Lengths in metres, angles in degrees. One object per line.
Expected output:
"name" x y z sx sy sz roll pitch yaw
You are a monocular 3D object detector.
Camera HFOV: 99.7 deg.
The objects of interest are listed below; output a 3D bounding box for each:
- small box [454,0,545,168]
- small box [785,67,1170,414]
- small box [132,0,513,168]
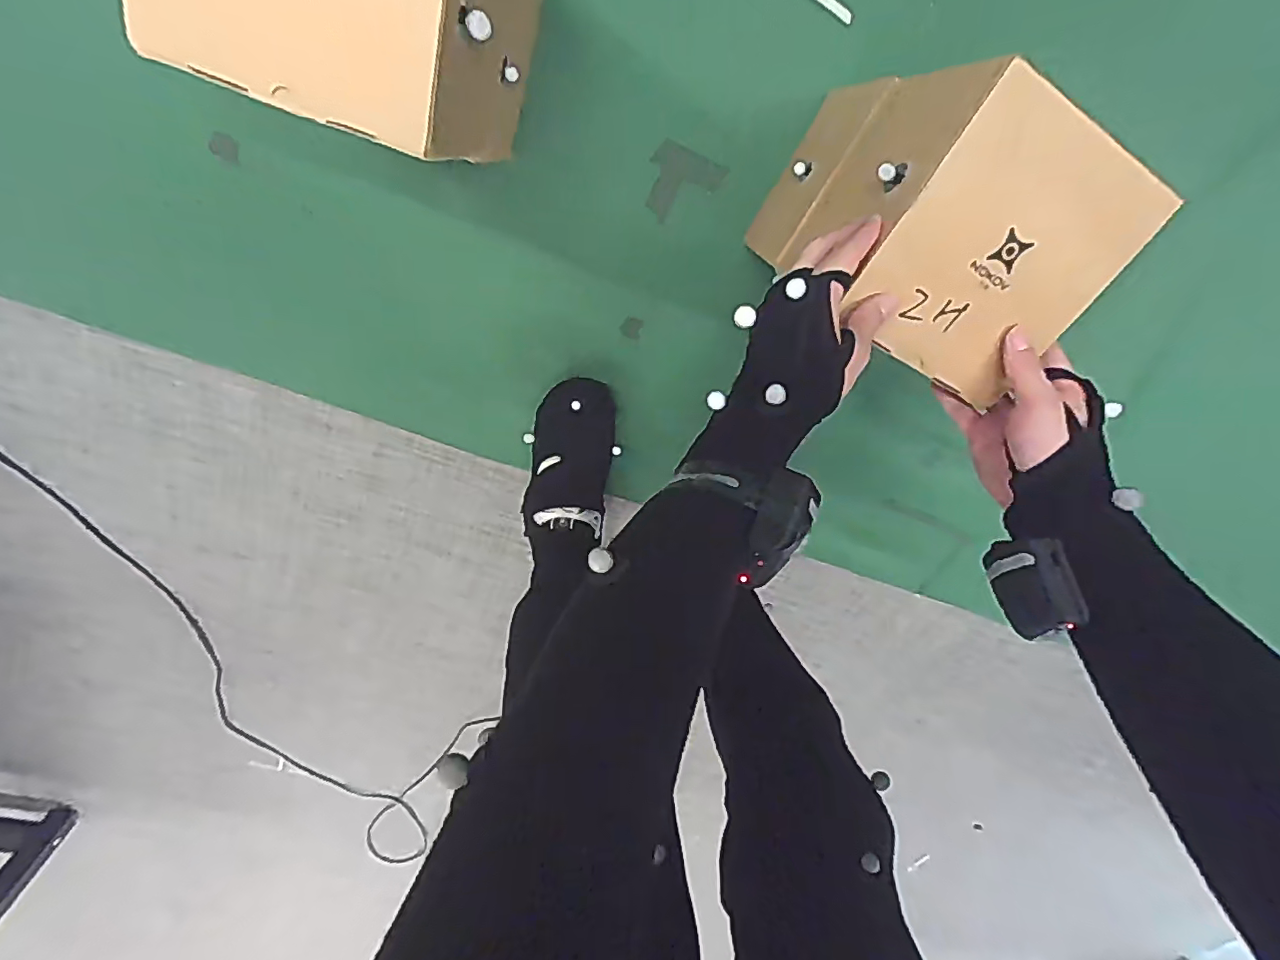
"small box" -0.192 -0.412 0.493 0.168 0.176 0.179 17 119 -12
"small box" 0.246 -0.192 0.448 0.168 0.176 0.179 24 118 -16
"small box" -0.183 -0.331 0.352 0.168 0.176 0.179 16 121 -12
